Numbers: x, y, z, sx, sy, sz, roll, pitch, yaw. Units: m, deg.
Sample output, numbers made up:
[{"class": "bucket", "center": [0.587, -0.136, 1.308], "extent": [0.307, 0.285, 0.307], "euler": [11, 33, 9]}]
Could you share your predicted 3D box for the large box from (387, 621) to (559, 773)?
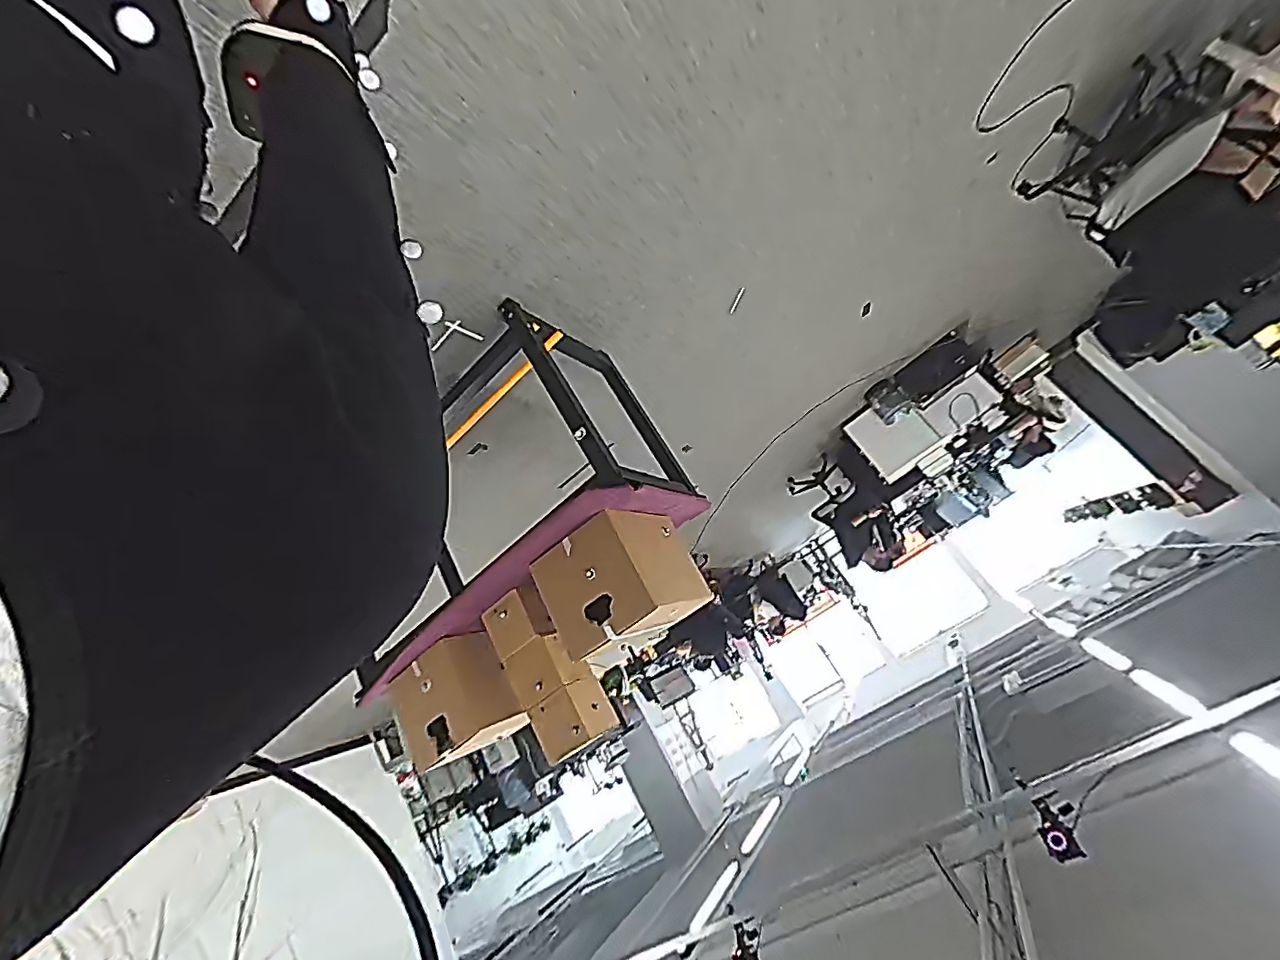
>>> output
[{"class": "large box", "center": [-0.565, 0.718, 1.853], "extent": [0.320, 0.320, 0.408], "euler": [-39, 158, 19]}]
